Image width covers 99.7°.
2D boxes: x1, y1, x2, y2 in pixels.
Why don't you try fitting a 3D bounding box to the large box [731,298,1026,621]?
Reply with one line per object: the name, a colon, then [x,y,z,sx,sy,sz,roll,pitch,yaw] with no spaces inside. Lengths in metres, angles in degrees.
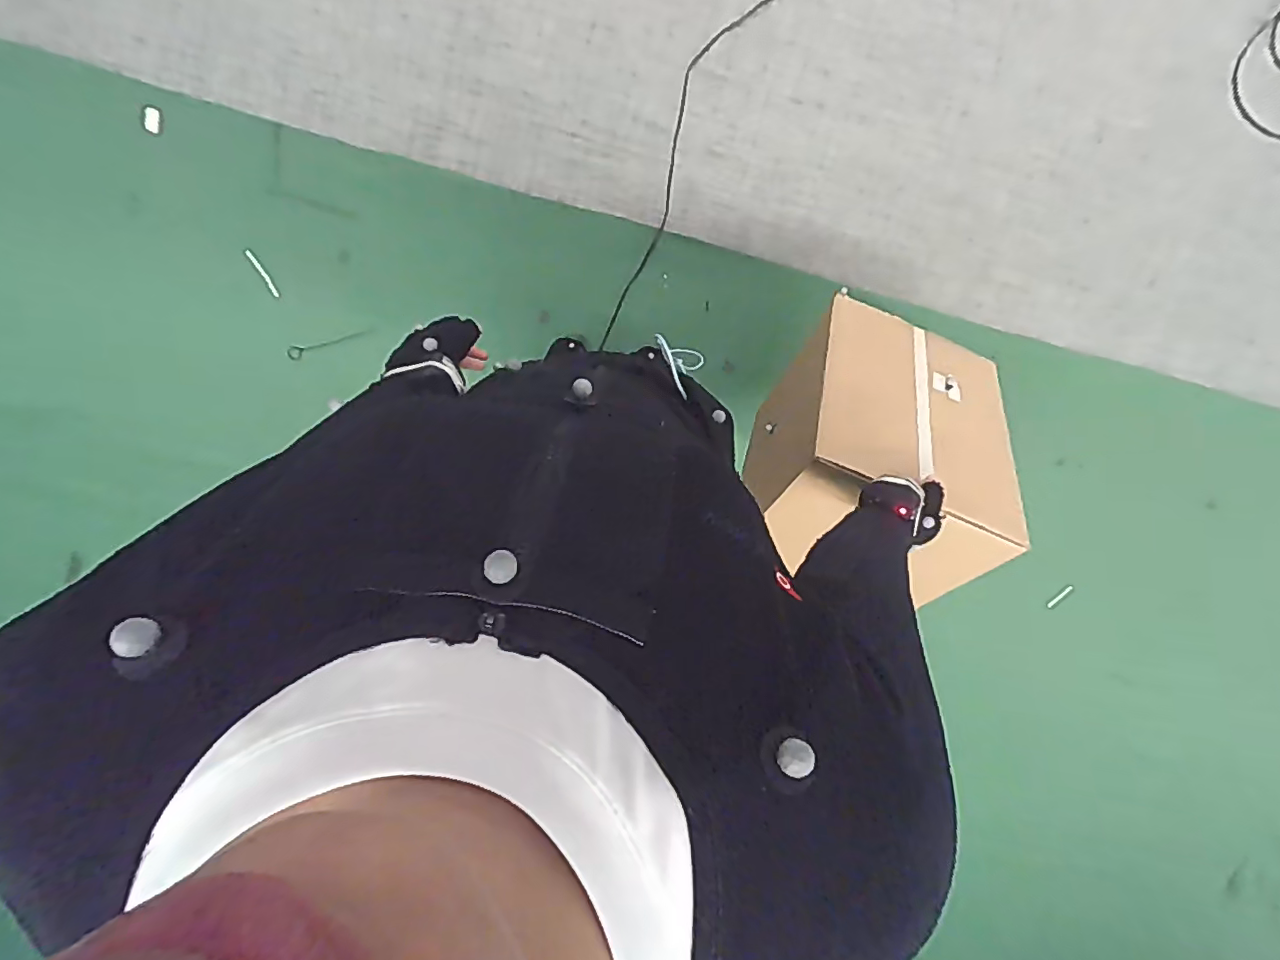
large box: [0.384,-0.031,0.943,0.320,0.408,0.320,24,142,-3]
